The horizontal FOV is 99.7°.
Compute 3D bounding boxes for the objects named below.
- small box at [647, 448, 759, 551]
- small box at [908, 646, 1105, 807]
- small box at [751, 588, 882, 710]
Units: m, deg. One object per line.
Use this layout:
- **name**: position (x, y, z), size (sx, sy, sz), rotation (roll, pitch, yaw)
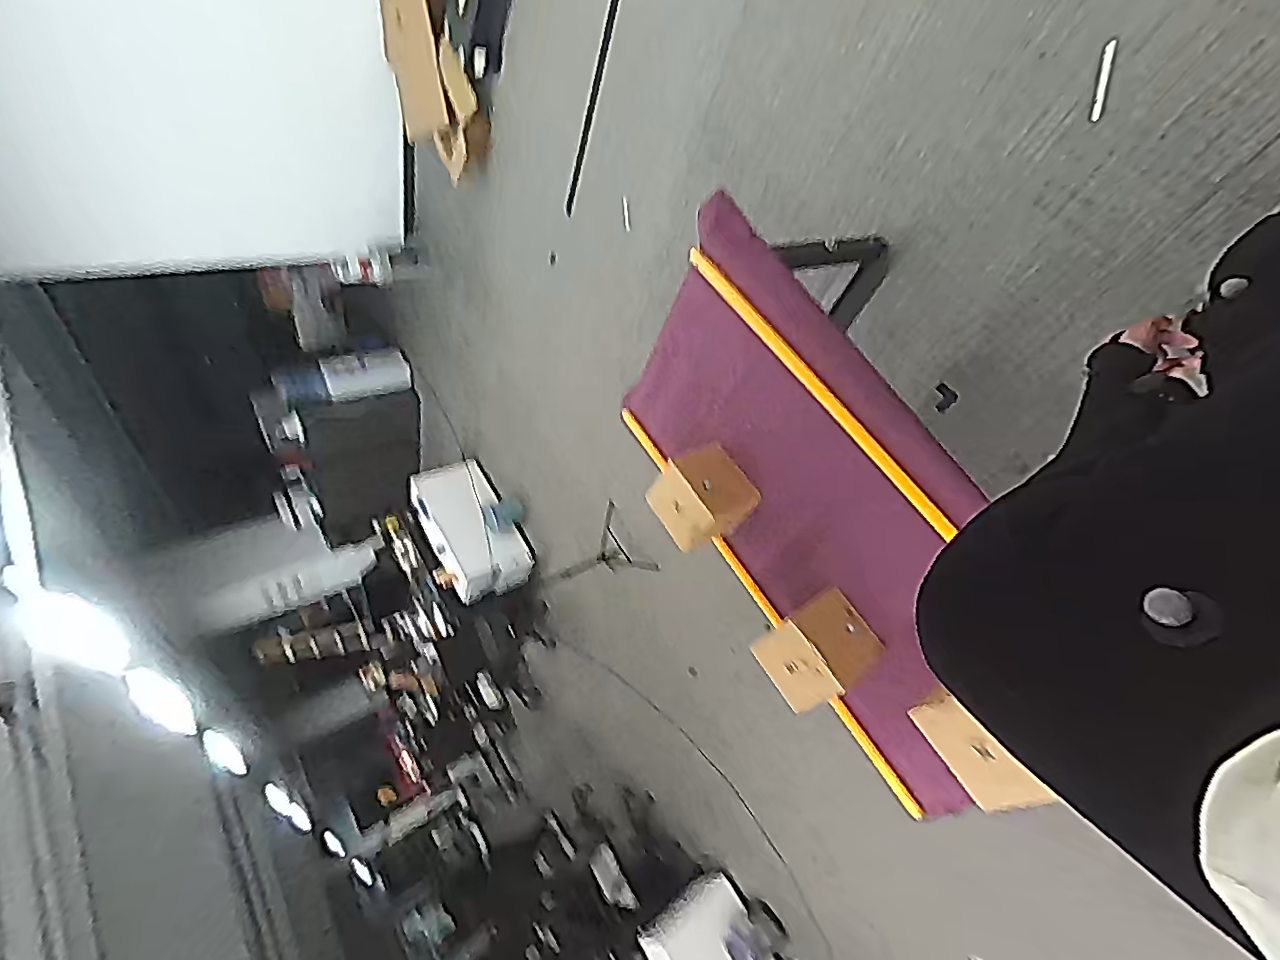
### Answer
- **small box**: position (0.154, 0.040, 1.322), size (0.179, 0.176, 0.168), rotation (54, 142, 20)
- **small box**: position (0.596, 0.395, 0.888), size (0.179, 0.176, 0.168), rotation (56, 145, 23)
- **small box**: position (0.382, 0.364, 1.173), size (0.168, 0.176, 0.179), rotation (54, 142, 20)
